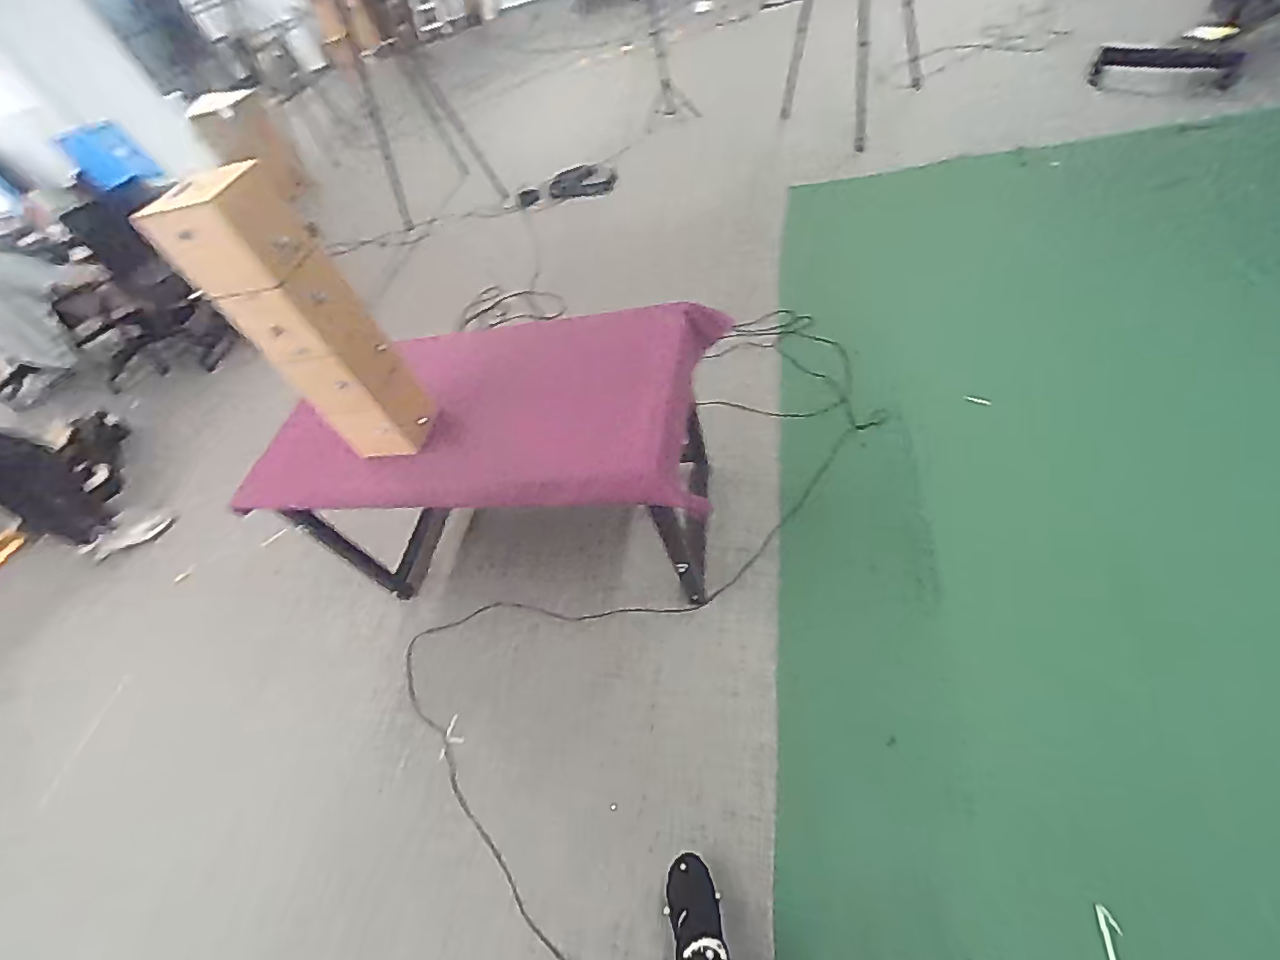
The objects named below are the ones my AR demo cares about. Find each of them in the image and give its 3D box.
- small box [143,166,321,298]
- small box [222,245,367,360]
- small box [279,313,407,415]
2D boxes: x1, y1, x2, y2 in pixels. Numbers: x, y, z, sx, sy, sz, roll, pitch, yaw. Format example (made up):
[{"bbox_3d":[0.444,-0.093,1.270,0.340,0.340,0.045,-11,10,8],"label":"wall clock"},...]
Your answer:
[{"bbox_3d":[-0.774,-0.473,1.048,0.179,0.176,0.168,-3,51,14],"label":"small box"},{"bbox_3d":[-0.736,-0.376,1.175,0.168,0.176,0.179,-3,52,15],"label":"small box"},{"bbox_3d":[-0.698,-0.272,1.295,0.179,0.176,0.168,-2,52,16],"label":"small box"}]
